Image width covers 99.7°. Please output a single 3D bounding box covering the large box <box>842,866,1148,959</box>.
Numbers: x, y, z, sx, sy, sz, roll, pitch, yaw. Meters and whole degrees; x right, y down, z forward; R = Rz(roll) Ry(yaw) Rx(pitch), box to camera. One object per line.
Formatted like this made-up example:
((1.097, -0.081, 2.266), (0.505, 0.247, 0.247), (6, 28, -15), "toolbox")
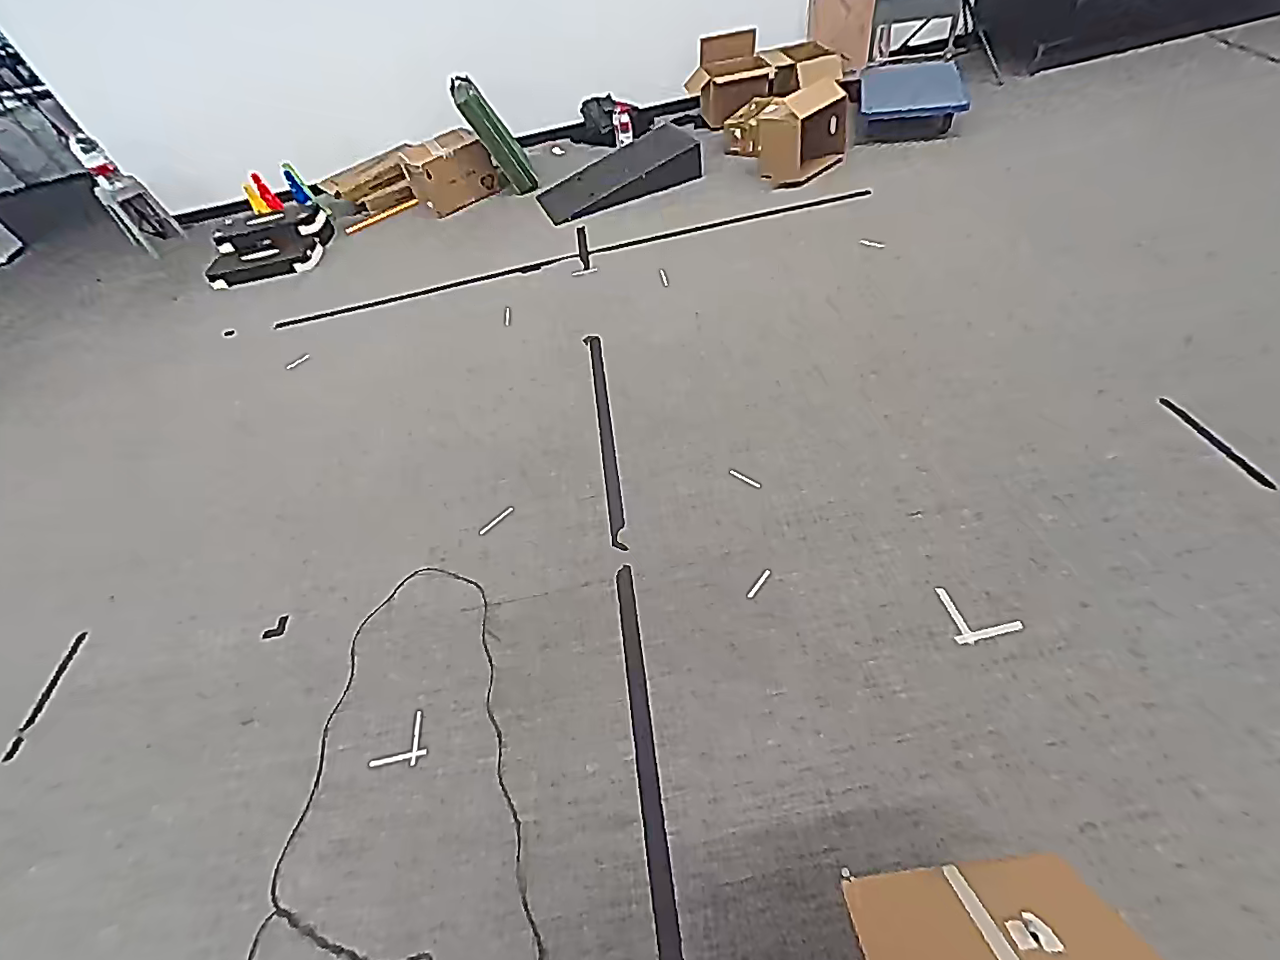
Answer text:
((0.458, 0.722, 0.590), (0.320, 0.408, 0.320), (-10, 85, 6), "large box")
